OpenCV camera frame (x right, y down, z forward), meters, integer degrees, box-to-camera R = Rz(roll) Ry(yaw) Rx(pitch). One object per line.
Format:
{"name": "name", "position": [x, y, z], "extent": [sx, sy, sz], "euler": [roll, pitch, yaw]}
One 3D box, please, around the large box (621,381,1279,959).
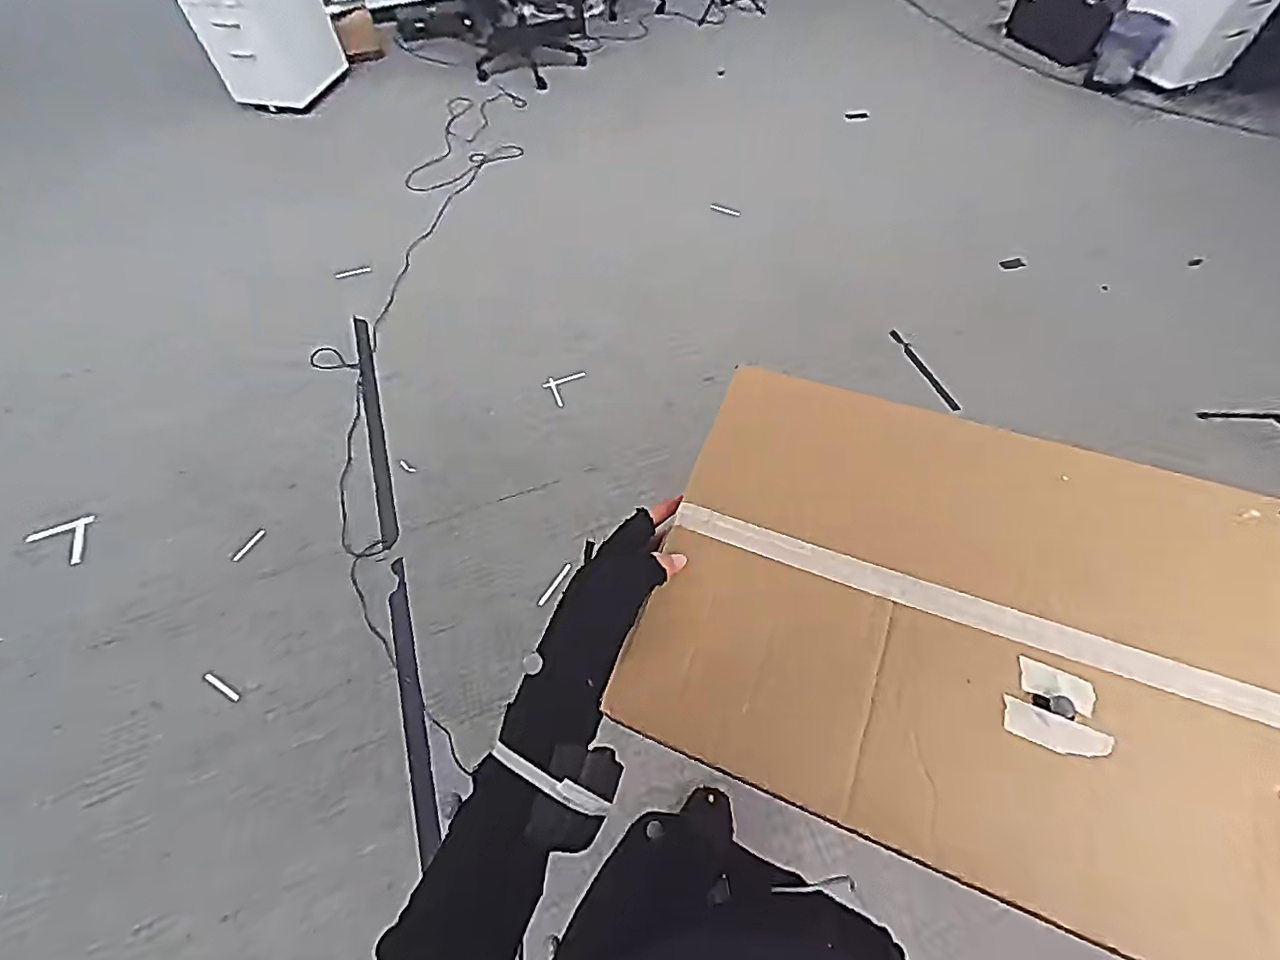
{"name": "large box", "position": [0.236, 0.158, 0.523], "extent": [0.408, 0.320, 0.320], "euler": [18, 68, 15]}
